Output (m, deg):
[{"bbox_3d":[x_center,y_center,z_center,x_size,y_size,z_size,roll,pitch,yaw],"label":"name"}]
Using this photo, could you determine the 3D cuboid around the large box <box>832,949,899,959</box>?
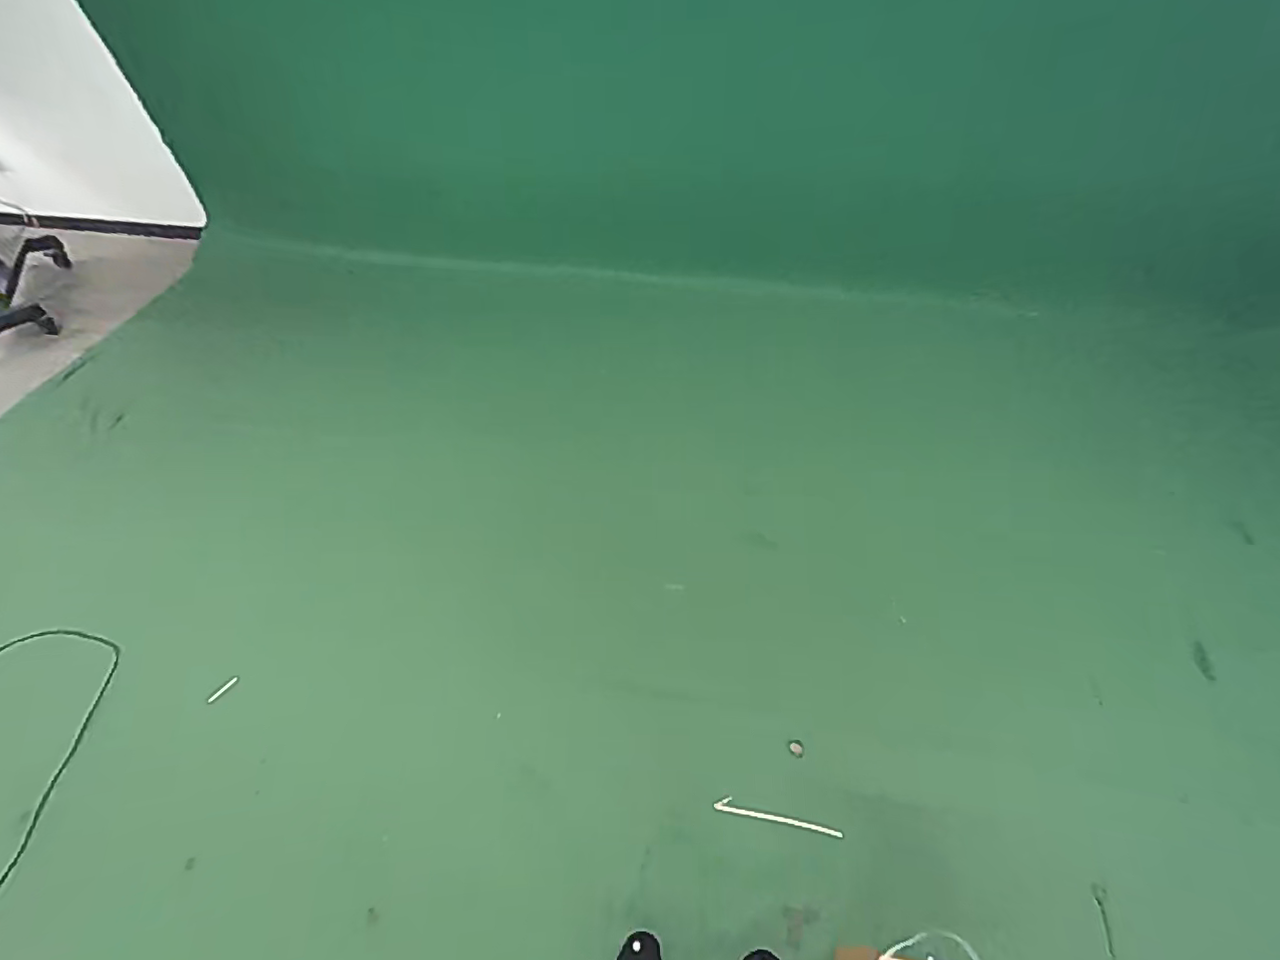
[{"bbox_3d":[0.551,1.139,0.971,0.320,0.320,0.408,7,53,7],"label":"large box"}]
